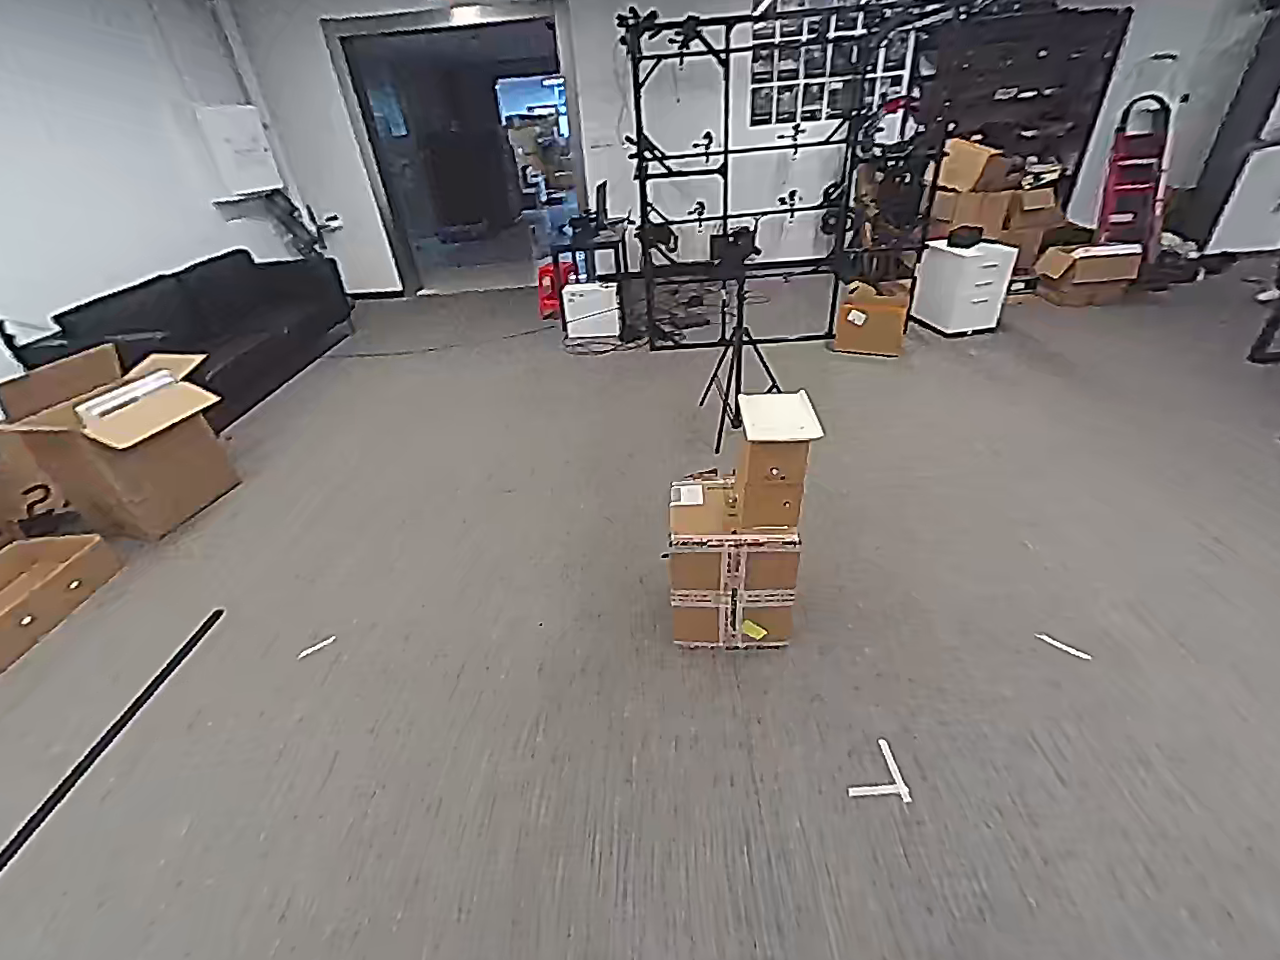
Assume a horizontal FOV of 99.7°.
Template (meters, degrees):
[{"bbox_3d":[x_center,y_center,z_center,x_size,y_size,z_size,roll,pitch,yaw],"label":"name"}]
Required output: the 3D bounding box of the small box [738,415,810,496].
[{"bbox_3d":[0.378,-0.072,1.555,0.168,0.176,0.179,0,36,3],"label":"small box"}]

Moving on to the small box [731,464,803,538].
[{"bbox_3d":[0.380,0.063,1.649,0.179,0.176,0.168,-3,35,0],"label":"small box"}]
